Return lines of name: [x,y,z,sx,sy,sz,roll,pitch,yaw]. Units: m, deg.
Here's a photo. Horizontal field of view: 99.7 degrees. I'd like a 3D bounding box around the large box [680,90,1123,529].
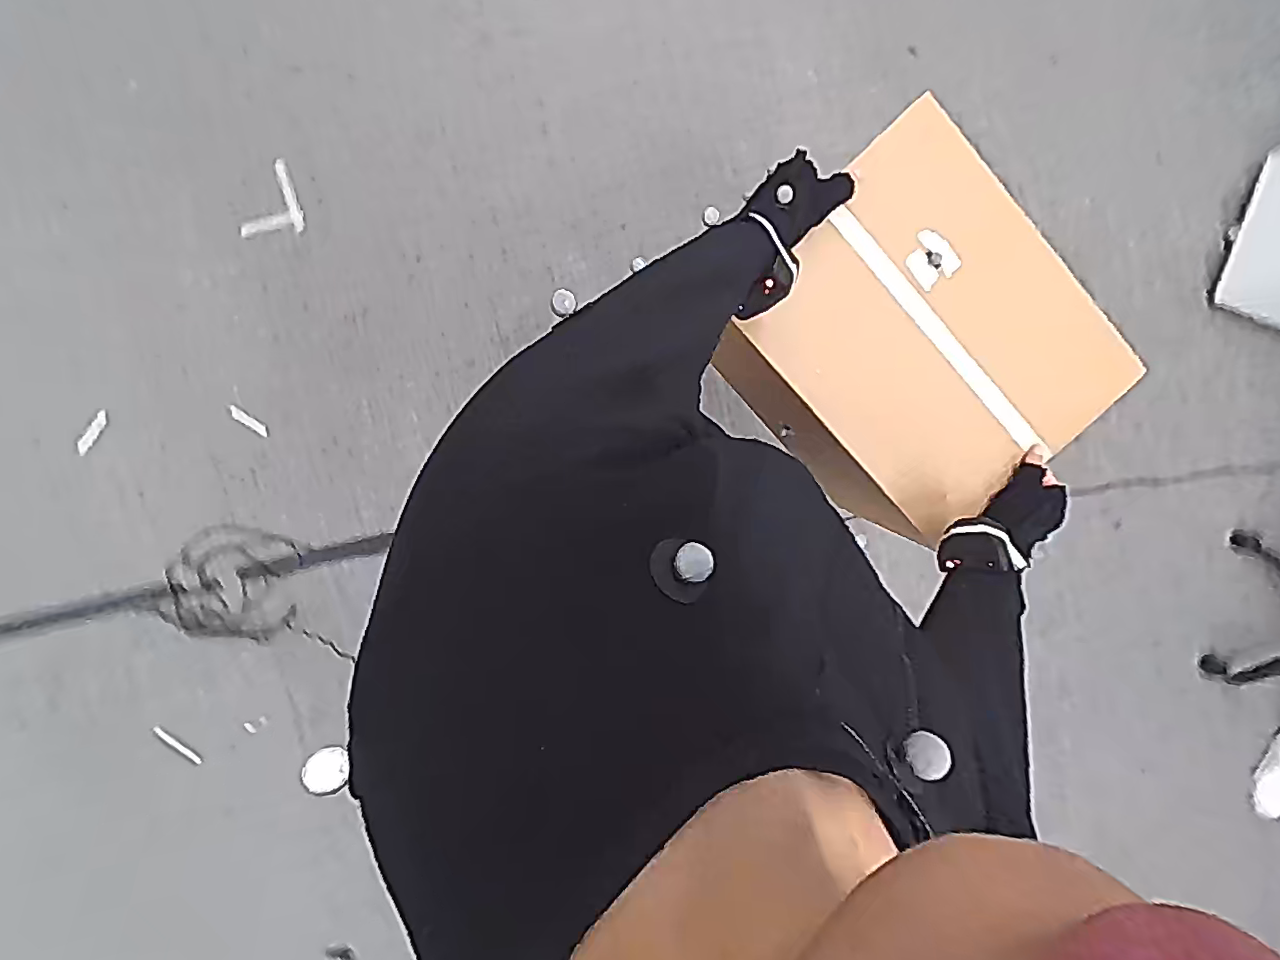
large box: [0.310,-0.198,0.761,0.320,0.320,0.408,-44,96,3]
